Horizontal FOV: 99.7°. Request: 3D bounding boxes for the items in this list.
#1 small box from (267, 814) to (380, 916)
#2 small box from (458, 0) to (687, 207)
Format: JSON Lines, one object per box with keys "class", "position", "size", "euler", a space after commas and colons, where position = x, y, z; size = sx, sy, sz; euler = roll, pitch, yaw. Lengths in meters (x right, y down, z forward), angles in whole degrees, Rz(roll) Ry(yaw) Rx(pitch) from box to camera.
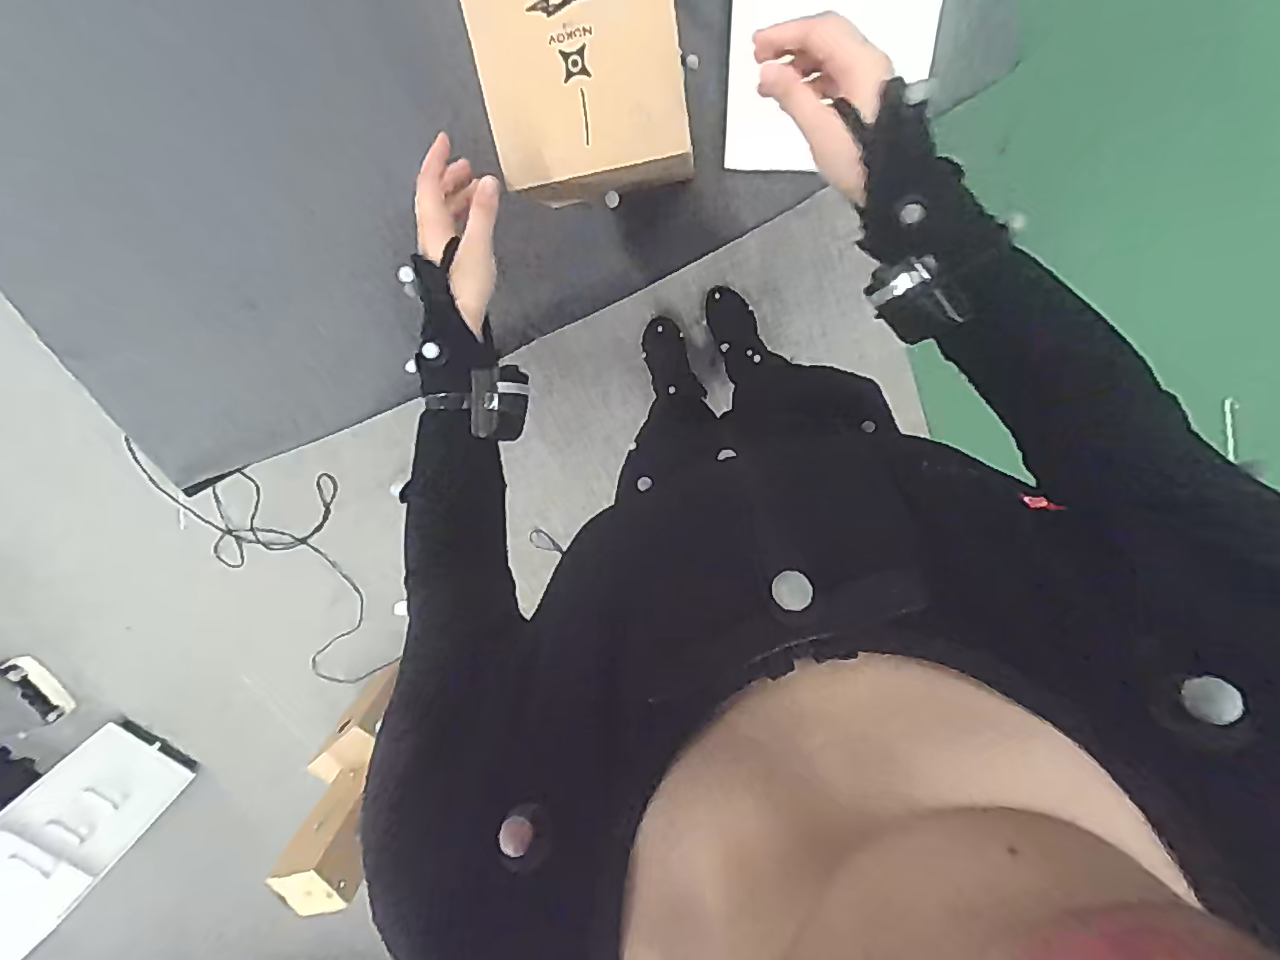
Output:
{"class": "small box", "position": [-0.881, 1.080, 1.523], "size": [0.179, 0.176, 0.168], "euler": [-19, 111, 16]}
{"class": "small box", "position": [-0.049, -0.373, 0.512], "size": [0.168, 0.176, 0.179], "euler": [-7, 112, 10]}
